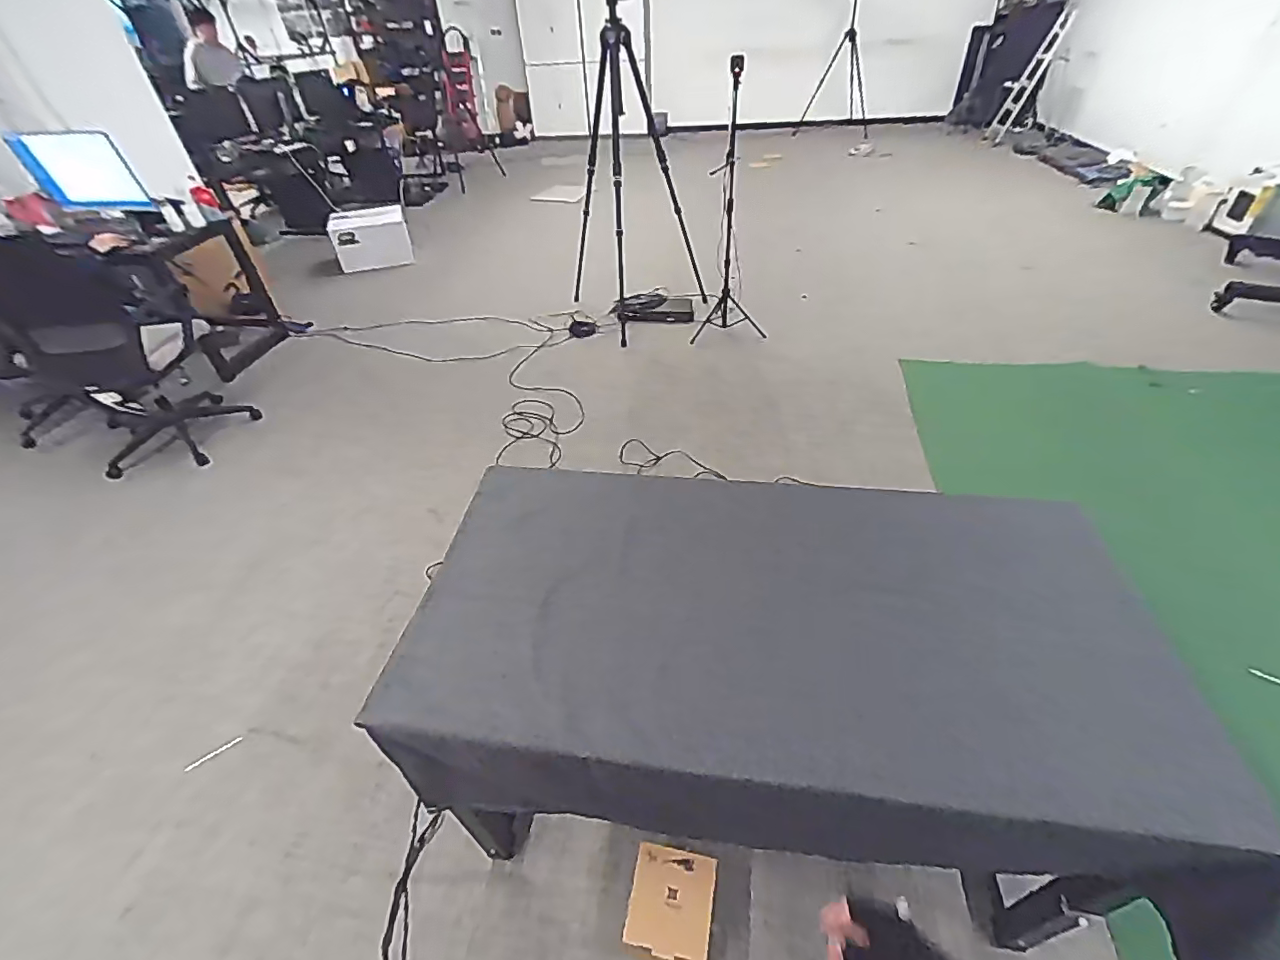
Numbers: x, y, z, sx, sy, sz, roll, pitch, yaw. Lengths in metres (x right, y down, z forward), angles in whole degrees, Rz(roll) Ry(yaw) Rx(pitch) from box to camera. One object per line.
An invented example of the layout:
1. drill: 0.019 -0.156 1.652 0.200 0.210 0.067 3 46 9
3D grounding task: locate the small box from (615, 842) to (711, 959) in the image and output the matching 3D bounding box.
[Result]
1. small box: 0.056 0.894 1.121 0.168 0.176 0.179 6 42 12
